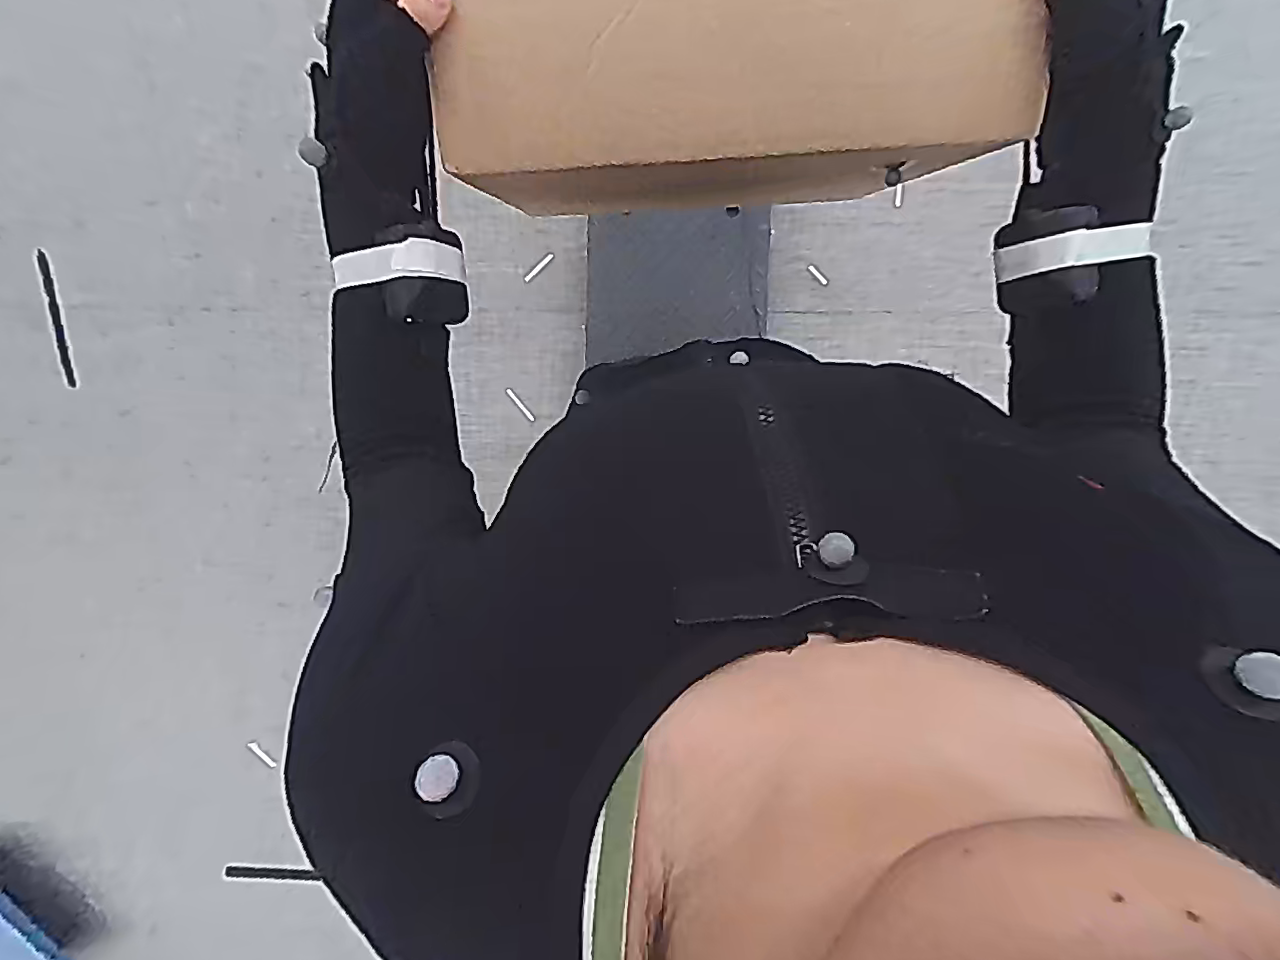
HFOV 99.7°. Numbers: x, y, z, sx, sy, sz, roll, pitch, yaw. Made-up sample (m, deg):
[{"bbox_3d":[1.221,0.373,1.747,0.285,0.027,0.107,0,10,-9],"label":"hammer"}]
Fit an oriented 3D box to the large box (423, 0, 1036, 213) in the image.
[{"bbox_3d":[0.054,-0.421,0.463,0.408,0.320,0.320,-3,111,0],"label":"large box"}]
